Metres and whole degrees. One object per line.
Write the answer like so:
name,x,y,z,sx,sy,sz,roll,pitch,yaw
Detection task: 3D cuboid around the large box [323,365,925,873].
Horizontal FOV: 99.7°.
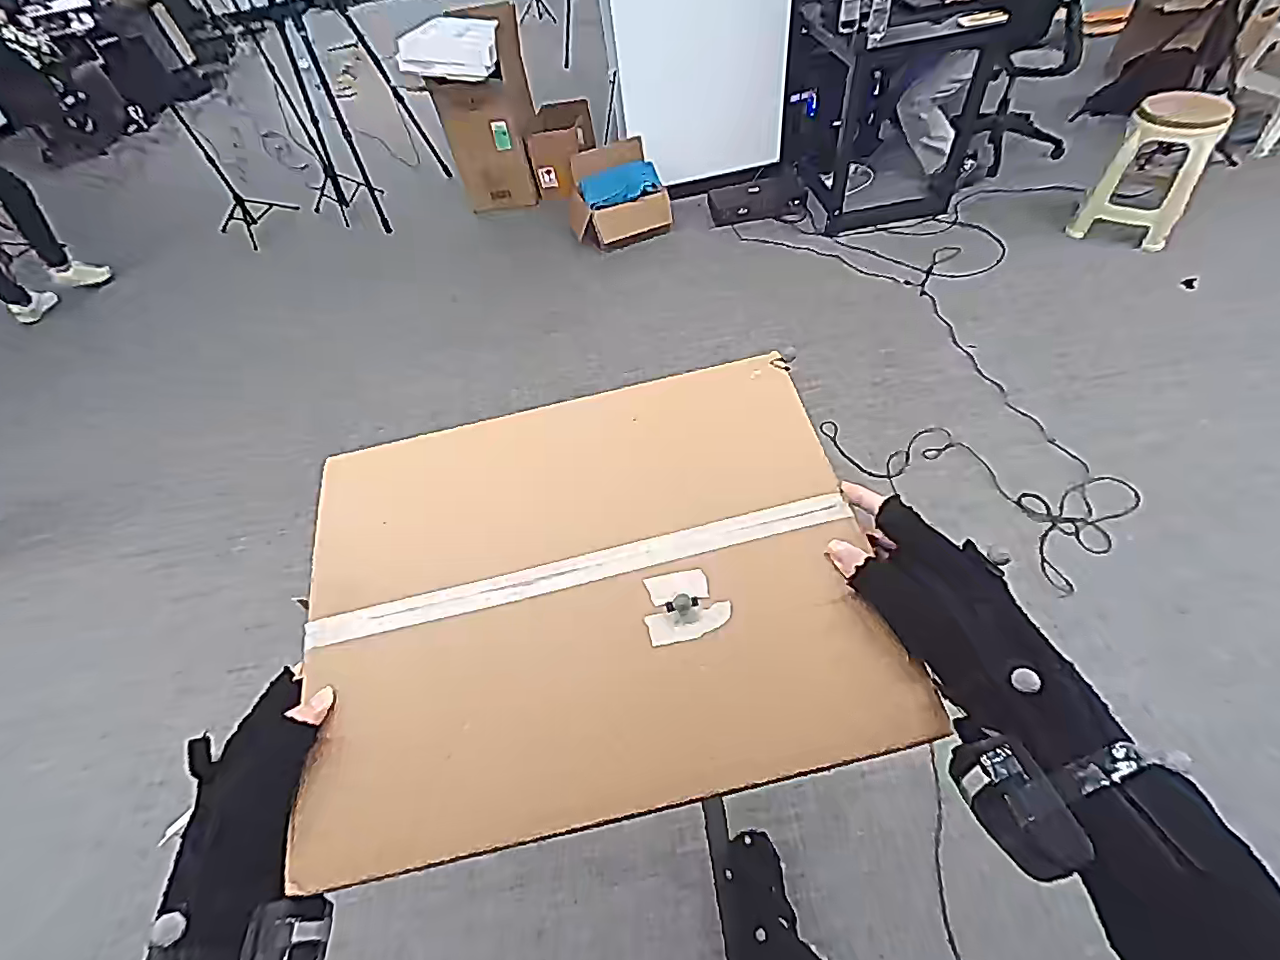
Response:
large box,-0.025,0.142,0.543,0.408,0.320,0.320,-13,61,-1
